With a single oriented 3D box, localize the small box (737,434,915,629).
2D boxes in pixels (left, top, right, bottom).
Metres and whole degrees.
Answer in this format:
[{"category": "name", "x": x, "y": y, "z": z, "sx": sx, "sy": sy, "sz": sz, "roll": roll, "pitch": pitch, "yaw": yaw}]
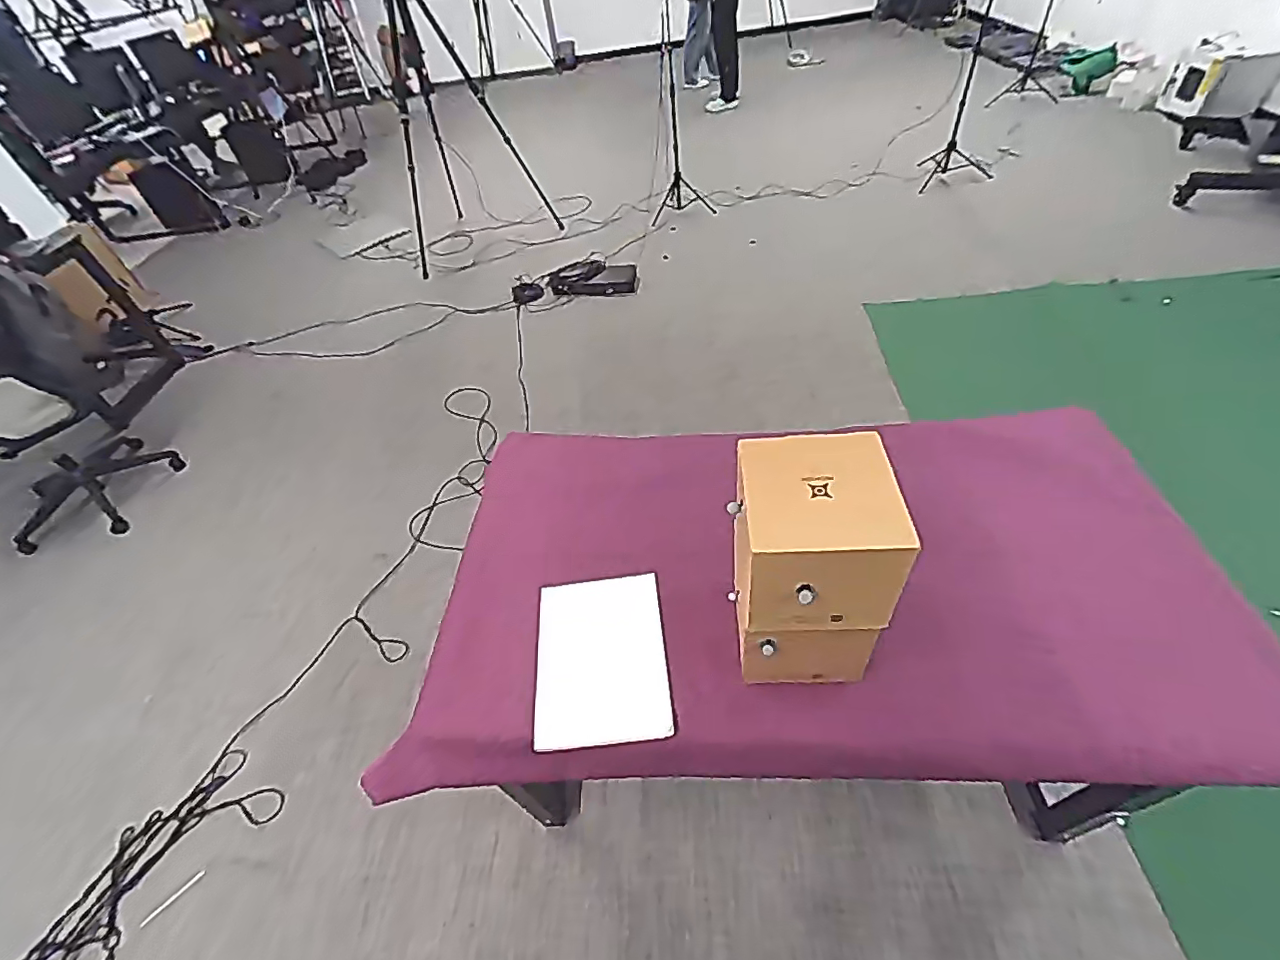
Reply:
[{"category": "small box", "x": 0.207, "y": 0.067, "z": 0.654, "sx": 0.168, "sy": 0.176, "sz": 0.179, "roll": -3, "pitch": 45, "yaw": 7}]
